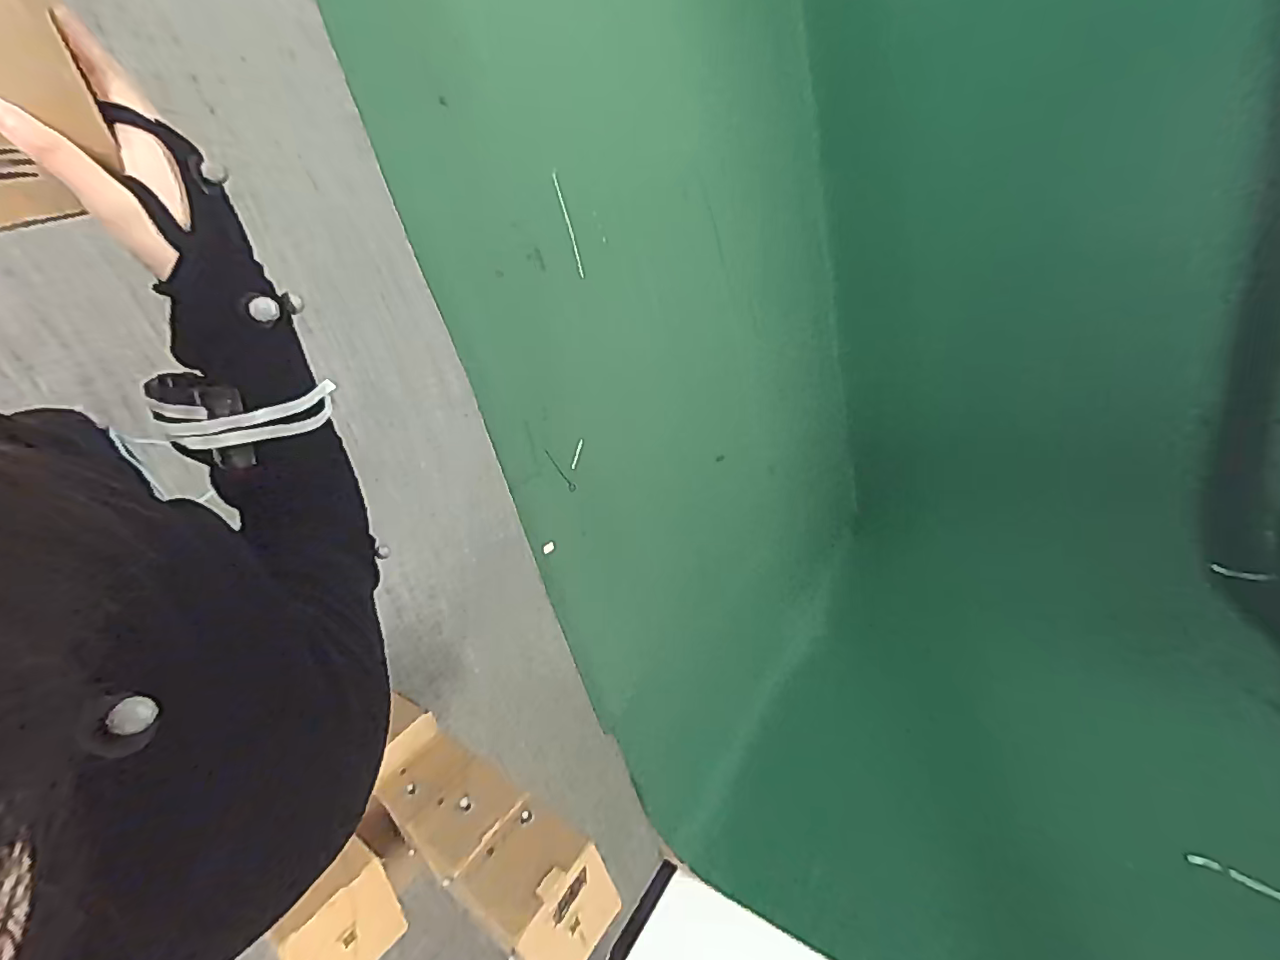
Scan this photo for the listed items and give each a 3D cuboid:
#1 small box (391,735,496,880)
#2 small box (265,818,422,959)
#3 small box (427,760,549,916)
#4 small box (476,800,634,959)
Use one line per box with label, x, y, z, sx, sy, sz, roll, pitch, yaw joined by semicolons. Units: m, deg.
small box;-0.385;0.665;1.126;0.168;0.176;0.179;-35;118;-40
small box;-0.527;0.756;0.964;0.168;0.176;0.179;-30;114;-45
small box;-0.265;0.661;1.014;0.168;0.176;0.179;-37;118;-39
small box;-0.143;0.677;0.904;0.168;0.176;0.179;-37;120;-39
